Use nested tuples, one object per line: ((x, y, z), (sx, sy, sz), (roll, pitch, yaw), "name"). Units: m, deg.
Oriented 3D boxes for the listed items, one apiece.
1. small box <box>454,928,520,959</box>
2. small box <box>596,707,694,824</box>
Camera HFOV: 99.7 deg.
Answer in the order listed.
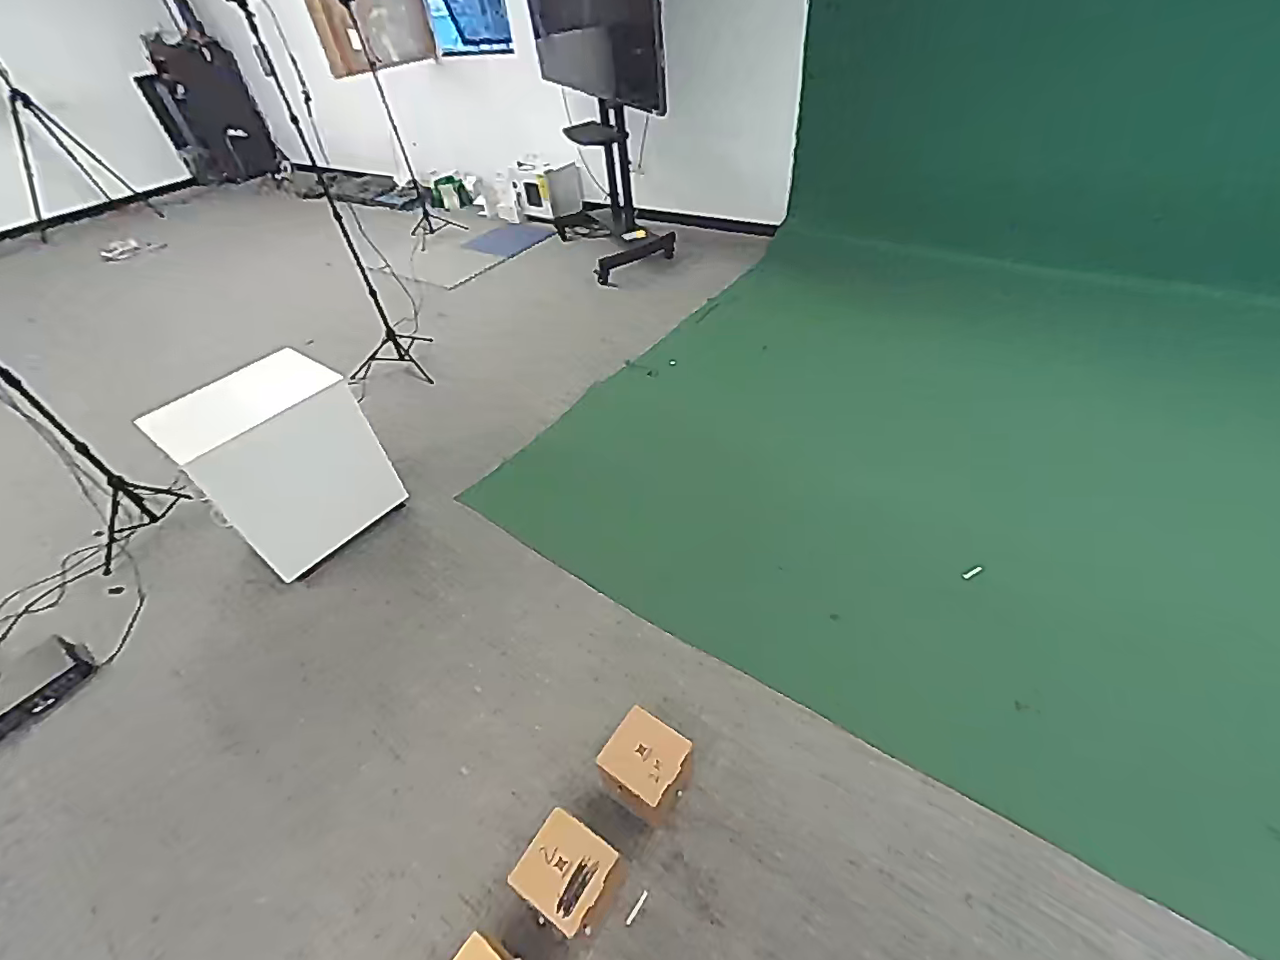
((-0.291, 1.017, 1.034), (0.179, 0.176, 0.168), (24, 52, 29), "small box")
((0.018, 0.705, 1.330), (0.179, 0.176, 0.168), (24, 51, 28), "small box")
